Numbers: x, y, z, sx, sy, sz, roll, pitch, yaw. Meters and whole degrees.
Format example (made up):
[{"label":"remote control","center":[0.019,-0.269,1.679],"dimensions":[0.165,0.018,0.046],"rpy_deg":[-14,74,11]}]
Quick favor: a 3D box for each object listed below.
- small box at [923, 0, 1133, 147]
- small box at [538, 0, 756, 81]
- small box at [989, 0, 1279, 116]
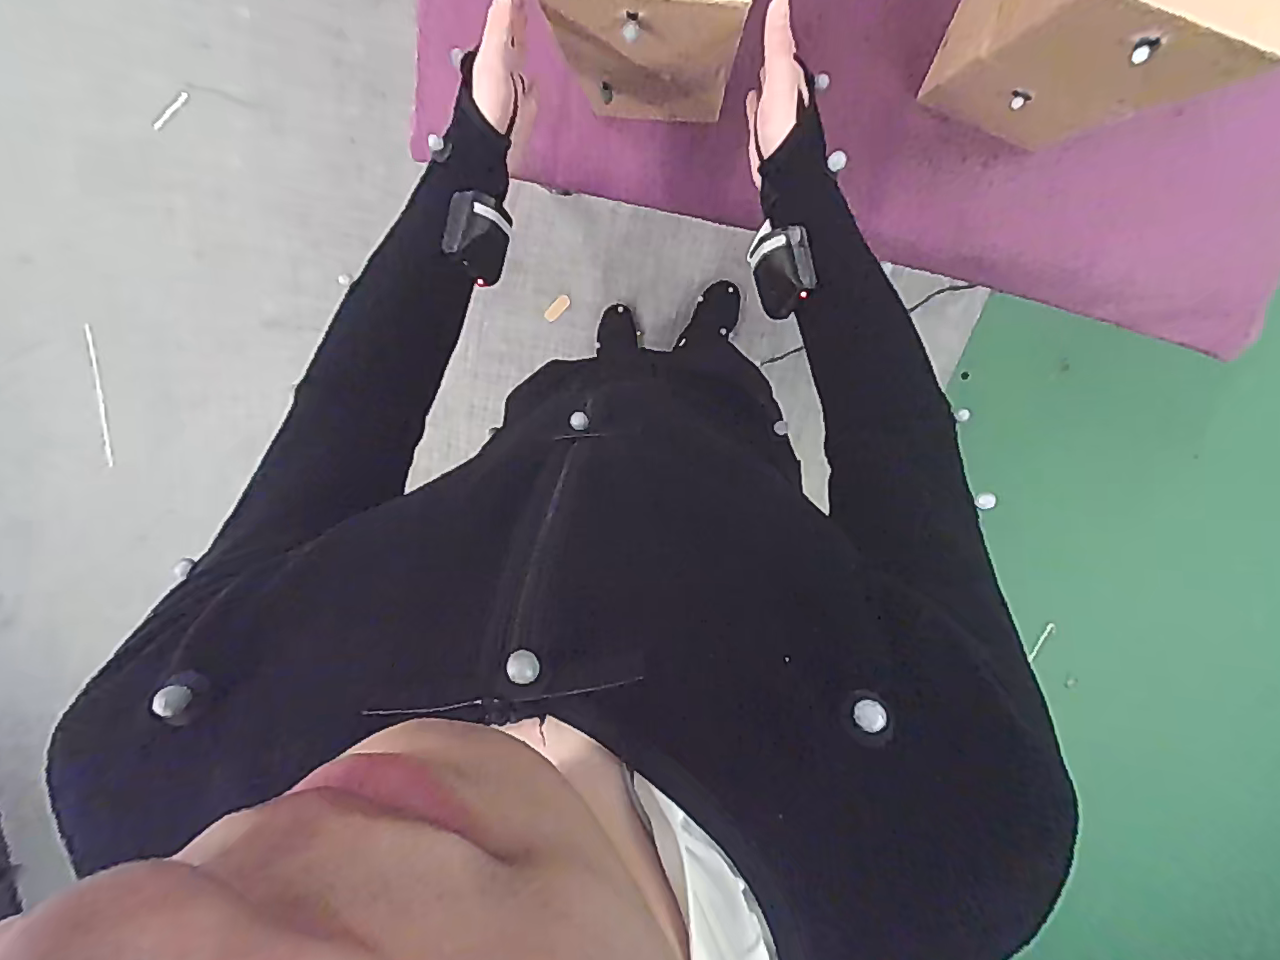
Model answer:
[{"label":"small box","center":[0.459,-0.501,0.604],"dimensions":[0.179,0.176,0.168],"rpy_deg":[19,112,-5]},{"label":"small box","center":[0.015,-0.474,0.469],"dimensions":[0.179,0.176,0.168],"rpy_deg":[7,111,2]},{"label":"small box","center":[0.446,-0.439,0.454],"dimensions":[0.179,0.176,0.168],"rpy_deg":[19,112,-4]}]
